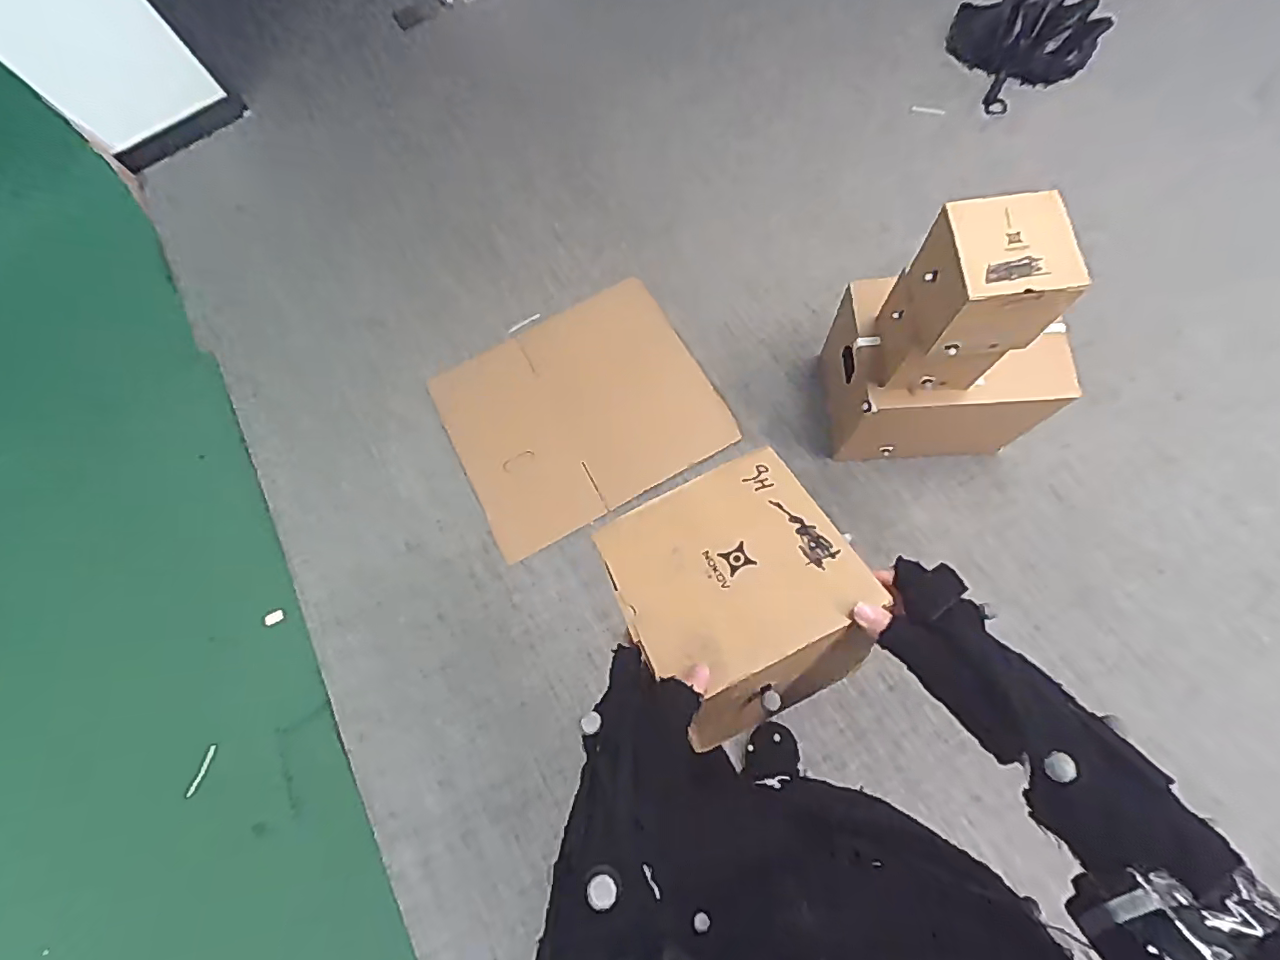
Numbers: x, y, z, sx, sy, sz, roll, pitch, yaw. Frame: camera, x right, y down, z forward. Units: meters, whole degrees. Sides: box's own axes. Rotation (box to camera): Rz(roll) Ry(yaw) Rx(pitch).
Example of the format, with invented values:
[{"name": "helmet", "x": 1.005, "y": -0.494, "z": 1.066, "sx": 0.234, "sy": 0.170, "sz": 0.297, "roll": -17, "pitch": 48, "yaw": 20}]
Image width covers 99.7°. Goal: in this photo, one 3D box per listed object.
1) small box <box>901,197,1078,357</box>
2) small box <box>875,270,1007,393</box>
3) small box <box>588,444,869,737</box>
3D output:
[{"name": "small box", "x": 0.549, "y": -0.315, "z": 0.878, "sx": 0.168, "sy": 0.176, "sz": 0.179, "roll": -7, "pitch": 73, "yaw": 5}, {"name": "small box", "x": 0.565, "y": -0.281, "z": 1.039, "sx": 0.168, "sy": 0.176, "sz": 0.179, "roll": 0, "pitch": 74, "yaw": 7}, {"name": "small box", "x": 0.080, "y": 0.107, "z": 0.496, "sx": 0.179, "sy": 0.176, "sz": 0.168, "roll": -28, "pitch": 52, "yaw": -6}]
